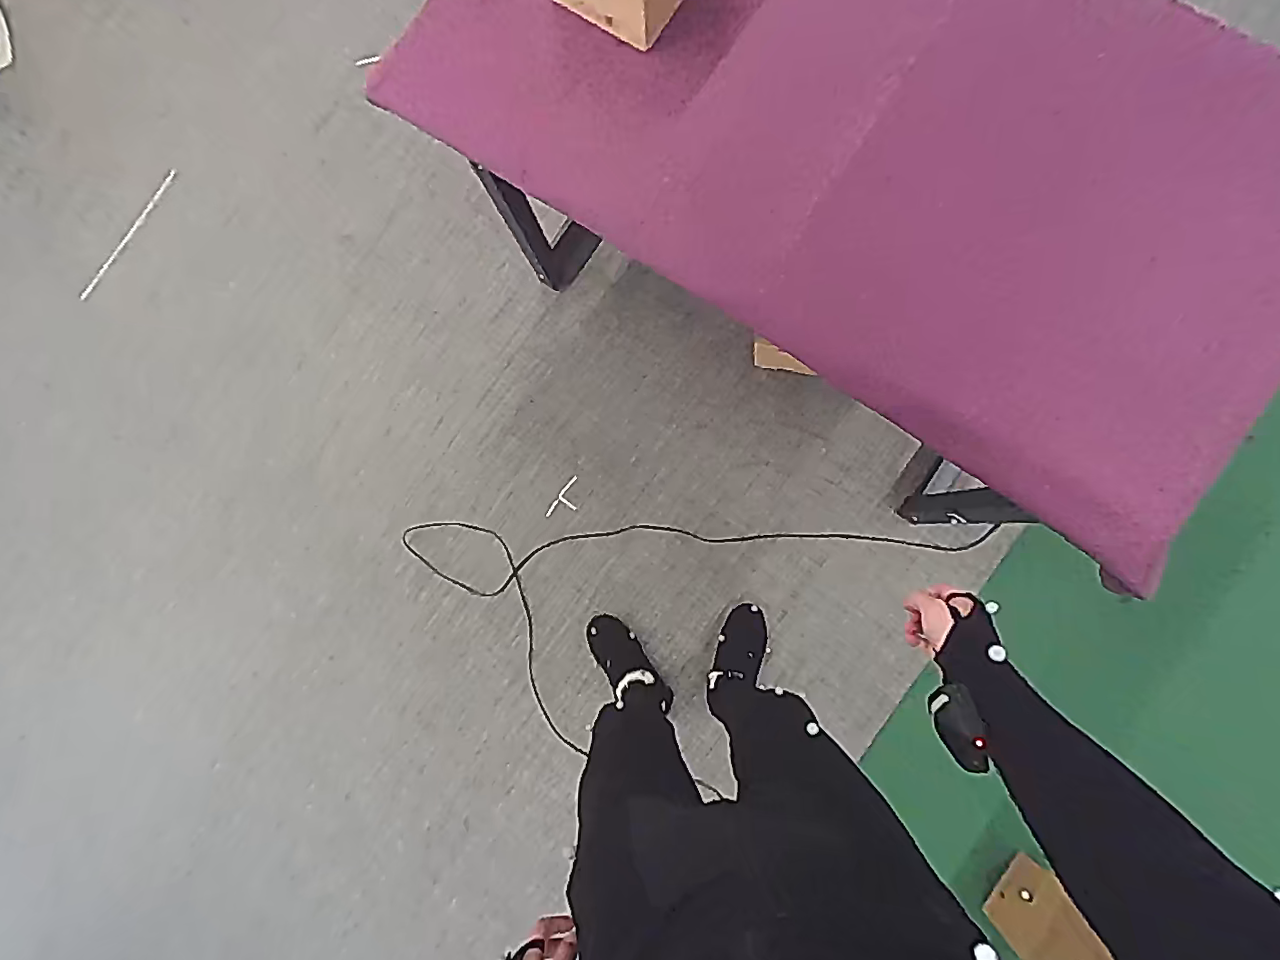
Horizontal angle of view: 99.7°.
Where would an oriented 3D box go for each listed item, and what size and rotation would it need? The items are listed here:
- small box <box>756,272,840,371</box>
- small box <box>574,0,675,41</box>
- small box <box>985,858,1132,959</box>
[{"bbox_3d":[0.384,-0.387,1.335,0.168,0.176,0.179,11,88,10],"label":"small box"},{"bbox_3d":[-0.016,-0.712,0.672,0.168,0.176,0.179,34,90,6],"label":"small box"},{"bbox_3d":[0.916,0.986,1.193,0.179,0.176,0.168,34,89,6],"label":"small box"}]
